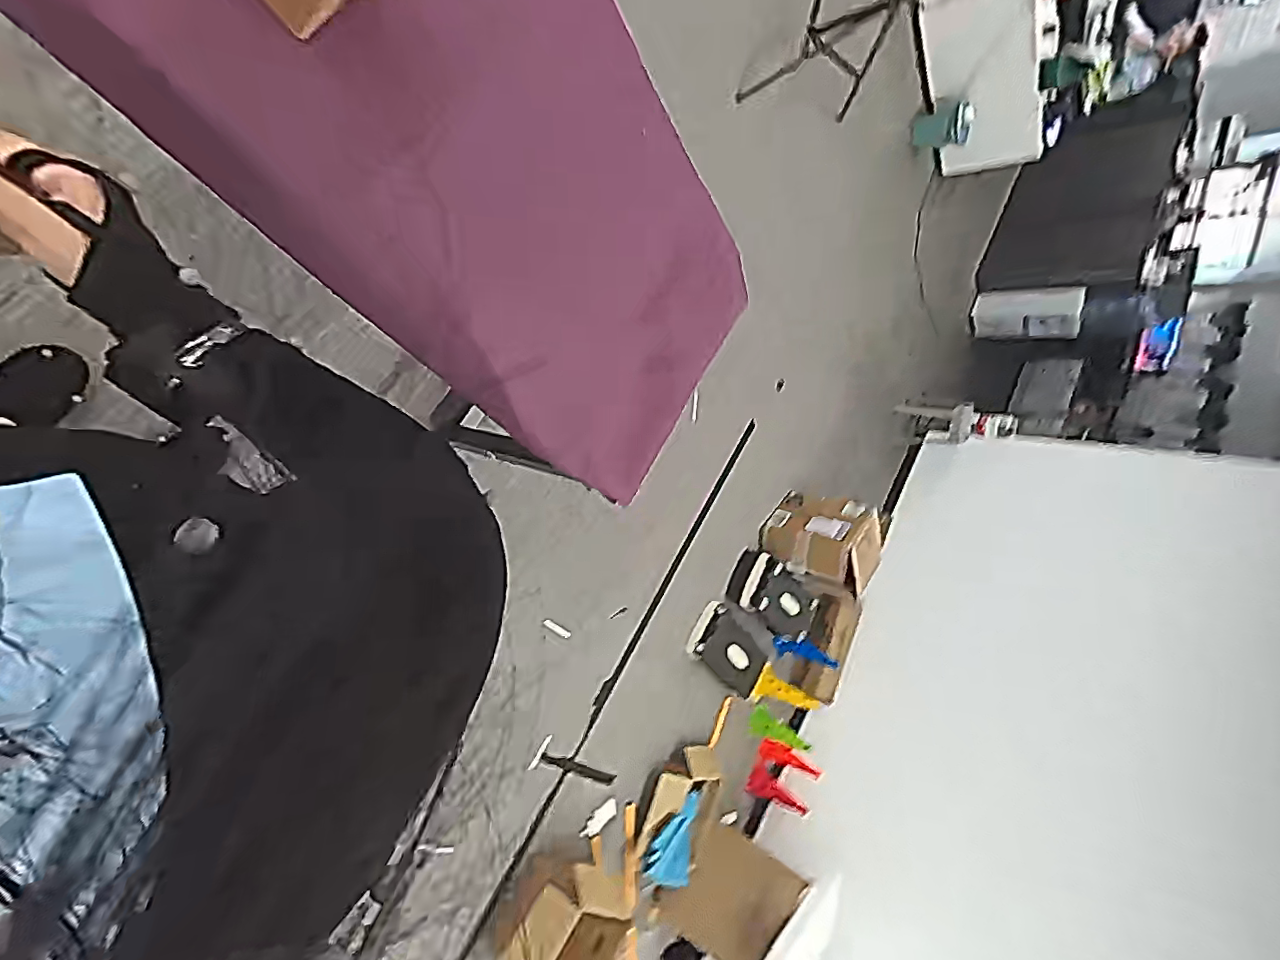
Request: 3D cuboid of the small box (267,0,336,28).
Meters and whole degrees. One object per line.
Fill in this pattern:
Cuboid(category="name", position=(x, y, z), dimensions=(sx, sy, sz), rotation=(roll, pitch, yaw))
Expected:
Cuboid(category="small box", position=(-0.331, -0.591, 0.509), dimensions=(0.179, 0.176, 0.168), rotation=(44, 68, -44))

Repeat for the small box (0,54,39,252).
Cuboid(category="small box", position=(-0.515, -0.245, 0.322), dimensions=(0.179, 0.176, 0.168), rotation=(-12, 100, -33))
